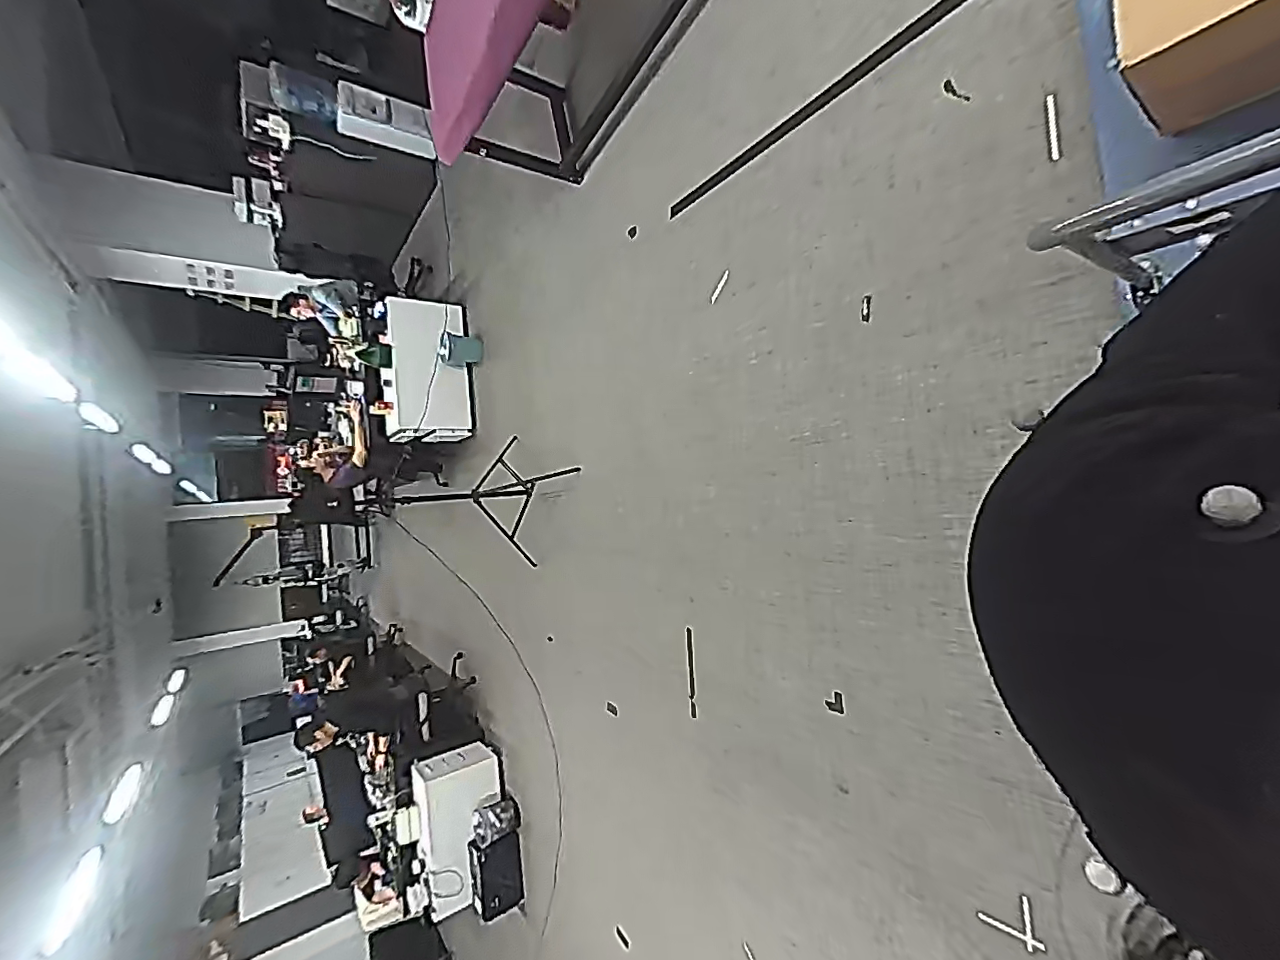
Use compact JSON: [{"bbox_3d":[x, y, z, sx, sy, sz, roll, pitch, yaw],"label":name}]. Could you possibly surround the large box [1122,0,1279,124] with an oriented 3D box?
[{"bbox_3d":[0.938,-0.780,0.715,0.408,0.320,0.320,-6,87,55],"label":"large box"}]
